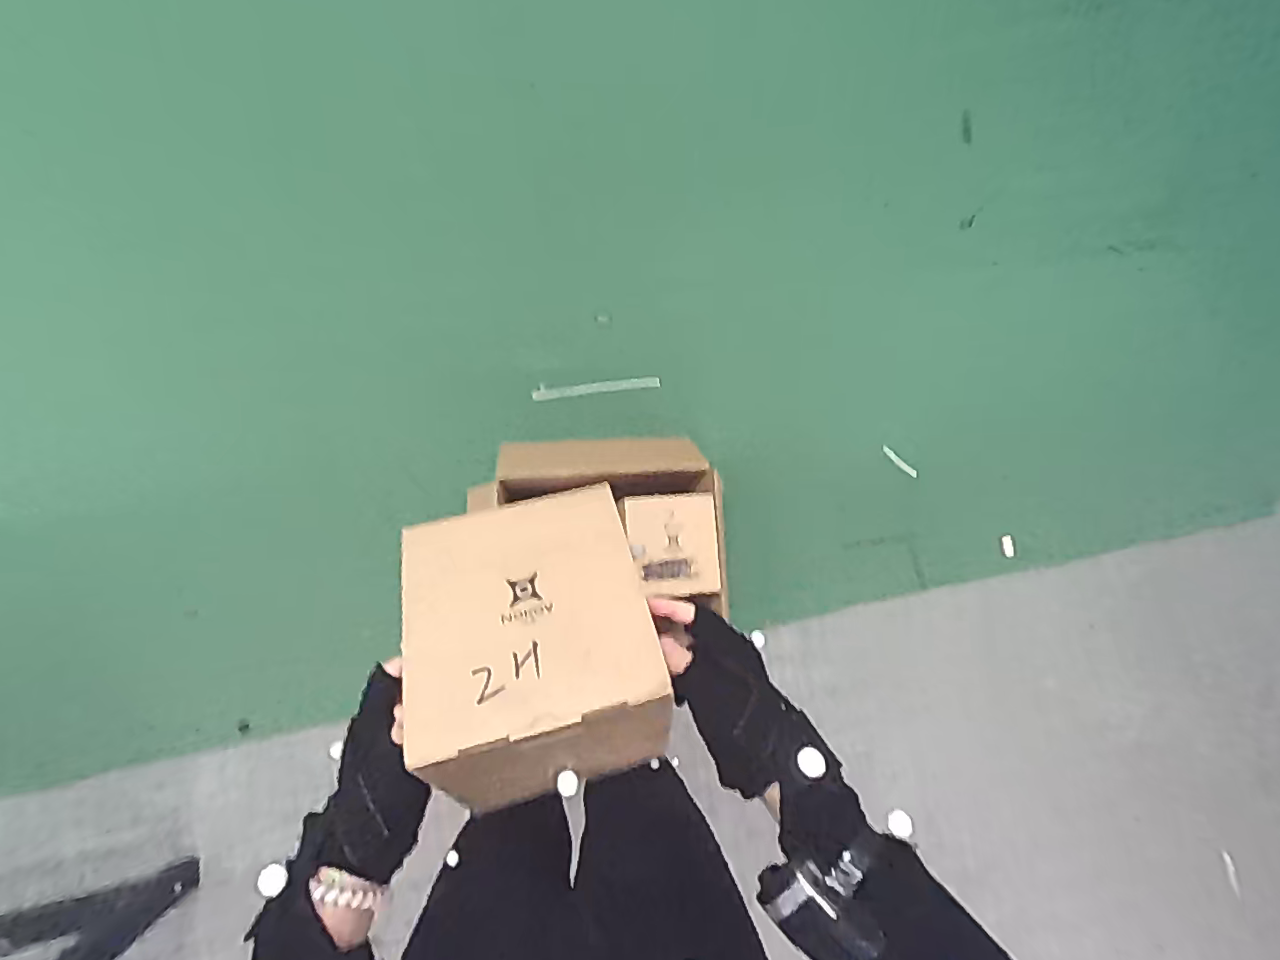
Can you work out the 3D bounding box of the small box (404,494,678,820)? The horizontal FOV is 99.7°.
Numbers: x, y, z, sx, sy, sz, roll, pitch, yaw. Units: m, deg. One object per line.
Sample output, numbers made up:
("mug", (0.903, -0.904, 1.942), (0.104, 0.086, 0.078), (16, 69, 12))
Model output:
("small box", (-0.076, 0.141, 0.434), (0.168, 0.176, 0.179), (-12, 50, -9))
